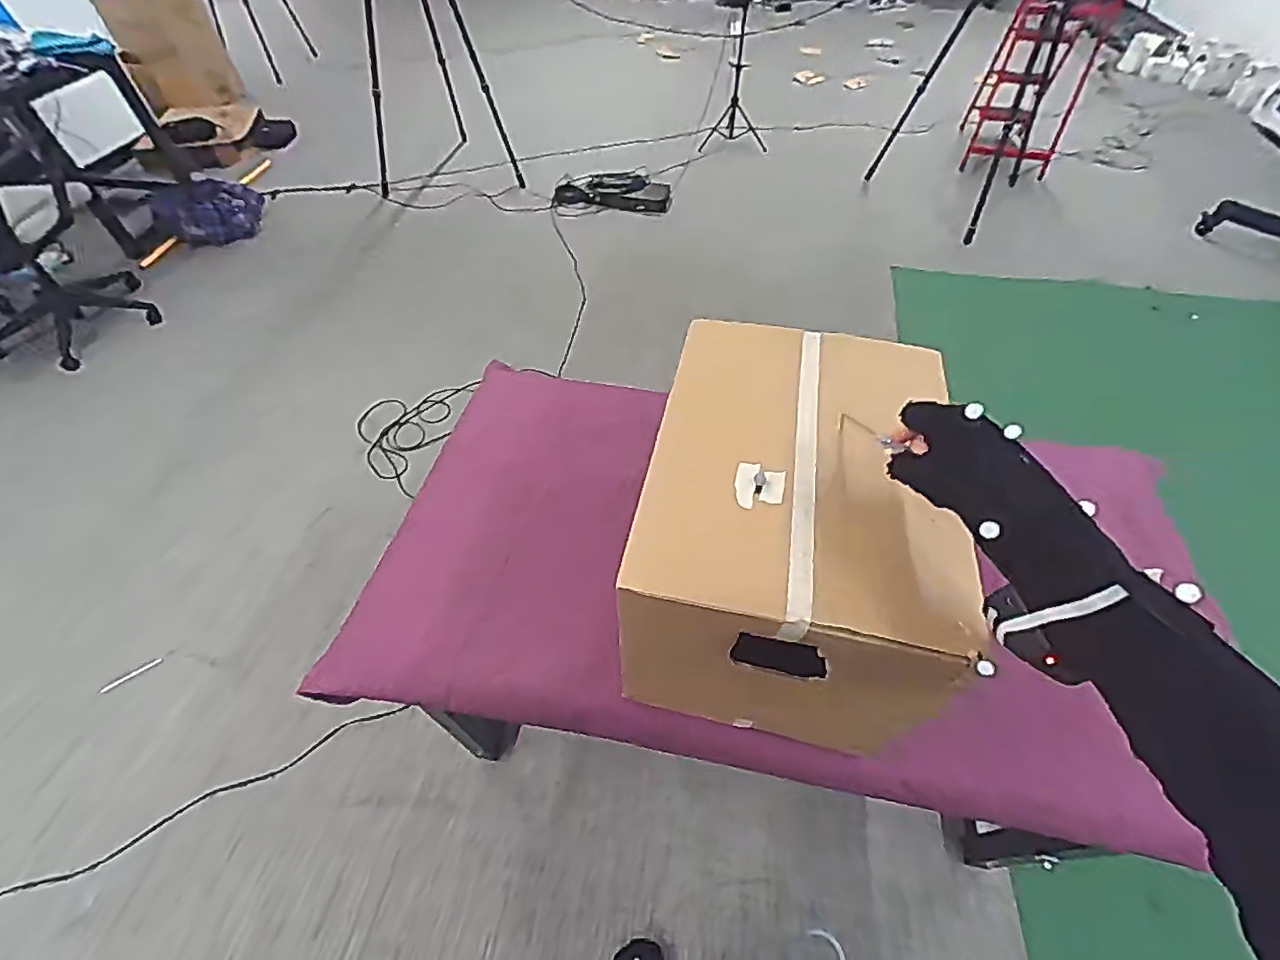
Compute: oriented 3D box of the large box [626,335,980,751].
[{"bbox_3d":[0.175,0.075,0.704,0.320,0.320,0.408,10,53,8],"label":"large box"}]
